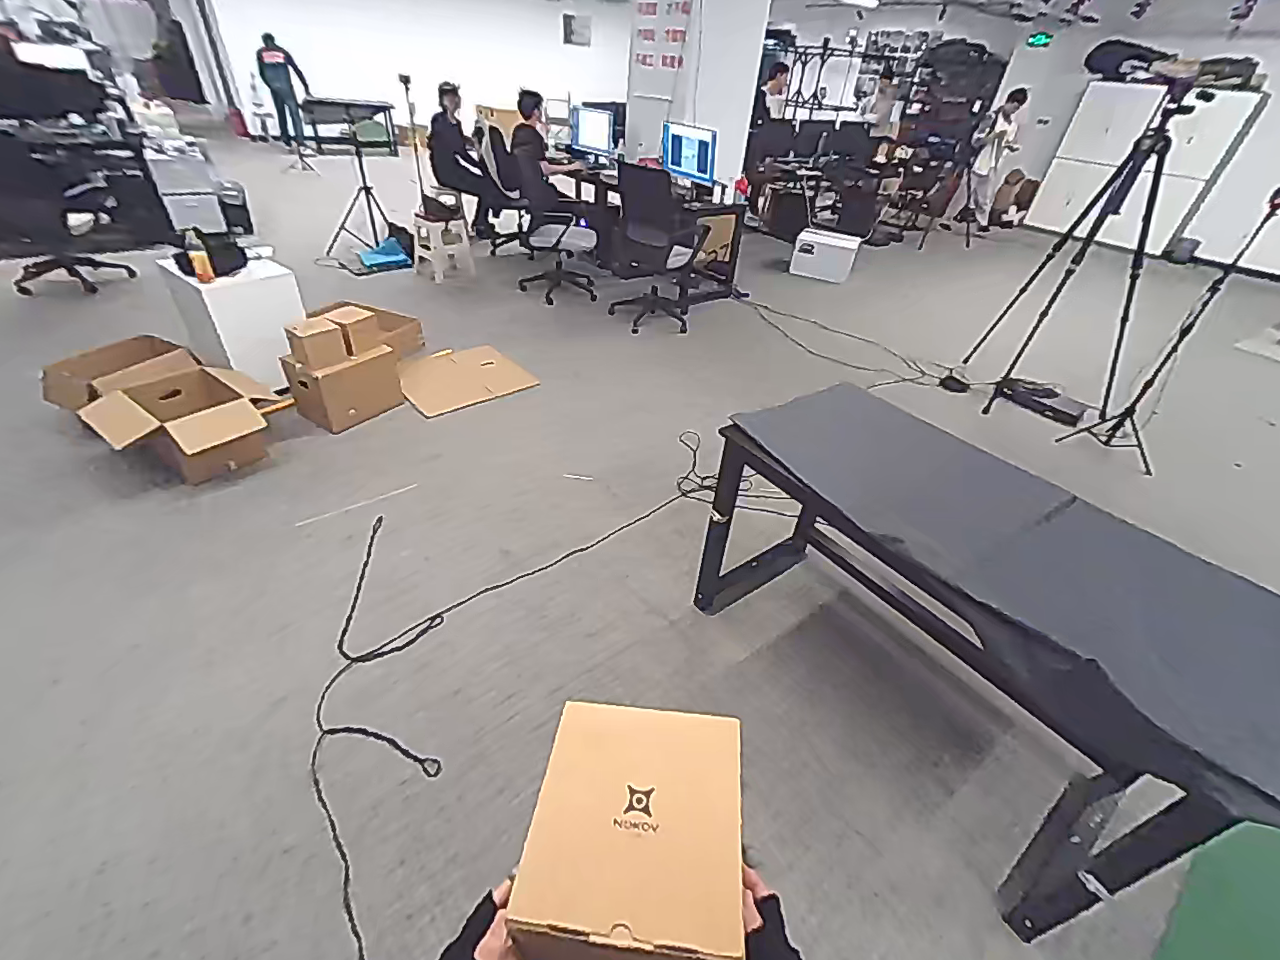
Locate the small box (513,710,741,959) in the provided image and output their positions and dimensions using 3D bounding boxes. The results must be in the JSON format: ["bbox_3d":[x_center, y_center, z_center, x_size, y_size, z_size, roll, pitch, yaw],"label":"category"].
[{"bbox_3d":[0.001,0.342,0.488,0.168,0.176,0.179,3,35,7],"label":"small box"}]
